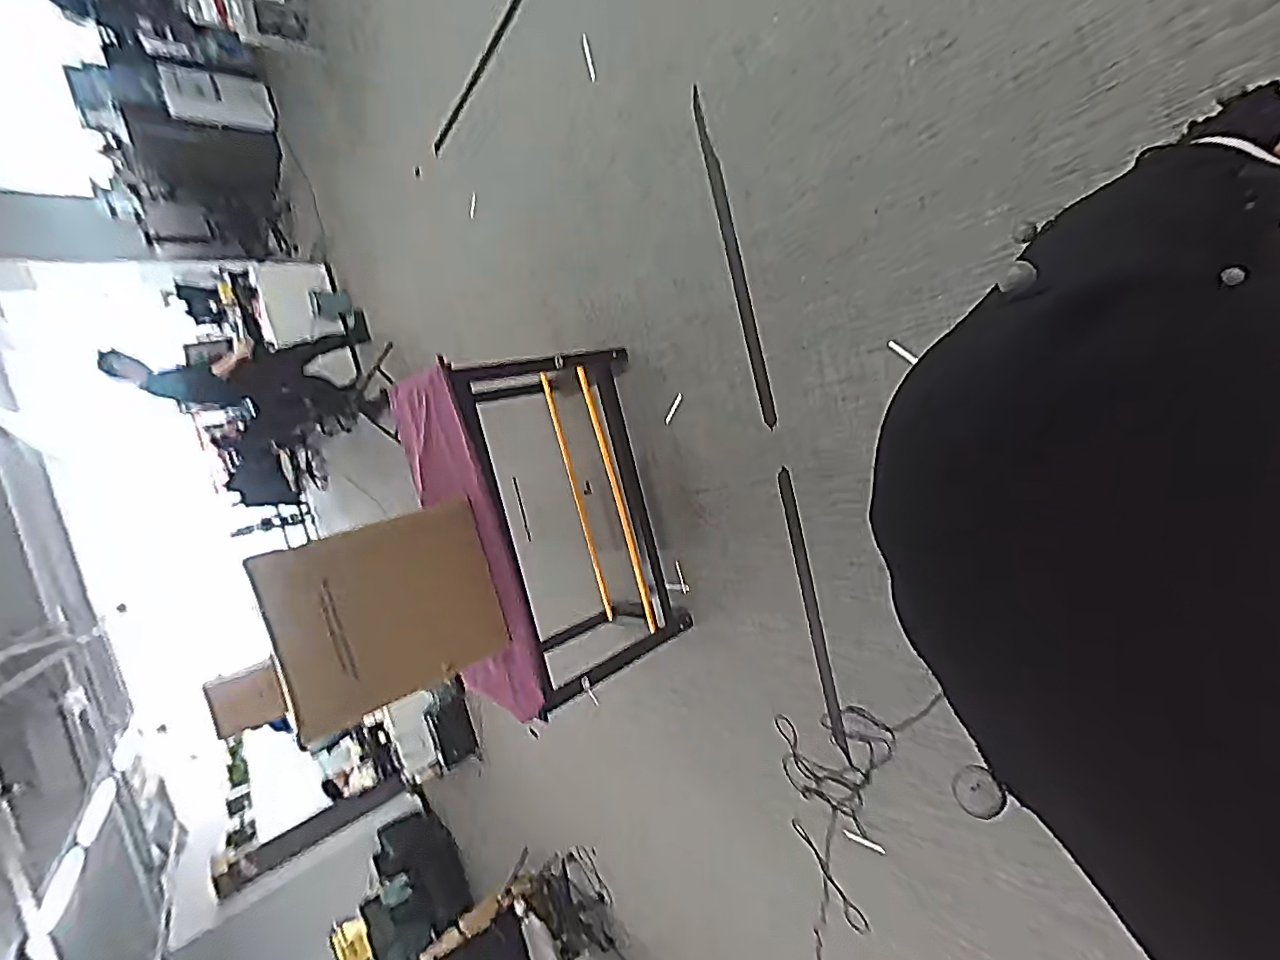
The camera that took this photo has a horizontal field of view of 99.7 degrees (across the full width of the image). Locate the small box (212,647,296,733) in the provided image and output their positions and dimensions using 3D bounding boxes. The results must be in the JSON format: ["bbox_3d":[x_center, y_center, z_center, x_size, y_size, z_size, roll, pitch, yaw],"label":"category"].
[{"bbox_3d":[-1.135,0.610,1.595,0.179,0.176,0.168,-11,95,52],"label":"small box"}]
